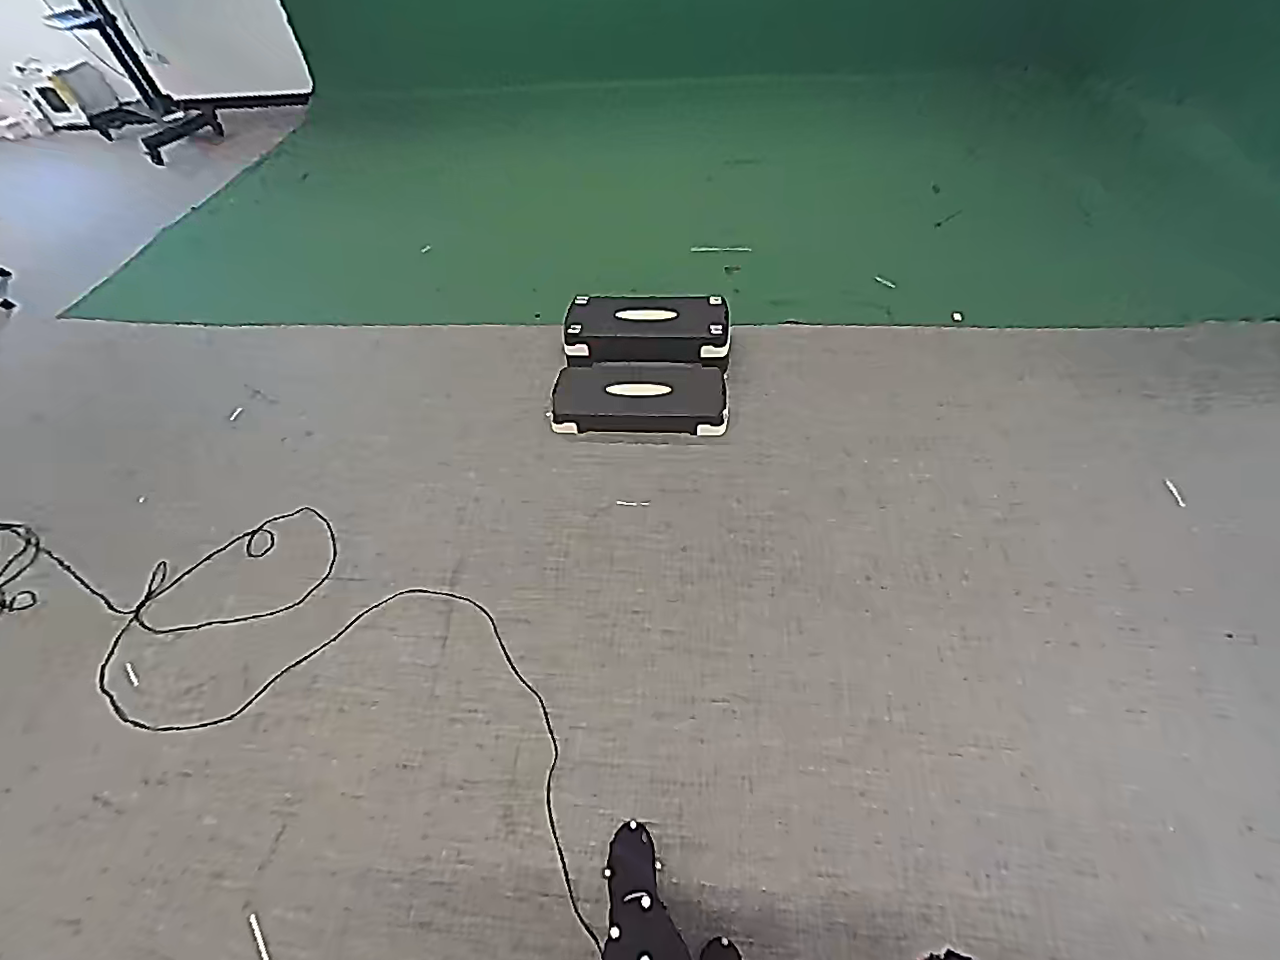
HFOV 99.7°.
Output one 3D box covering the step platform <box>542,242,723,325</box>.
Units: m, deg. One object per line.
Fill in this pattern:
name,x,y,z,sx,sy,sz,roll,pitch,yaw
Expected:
step platform,-0.023,-0.764,2.111,0.684,0.204,0.286,1,52,6
